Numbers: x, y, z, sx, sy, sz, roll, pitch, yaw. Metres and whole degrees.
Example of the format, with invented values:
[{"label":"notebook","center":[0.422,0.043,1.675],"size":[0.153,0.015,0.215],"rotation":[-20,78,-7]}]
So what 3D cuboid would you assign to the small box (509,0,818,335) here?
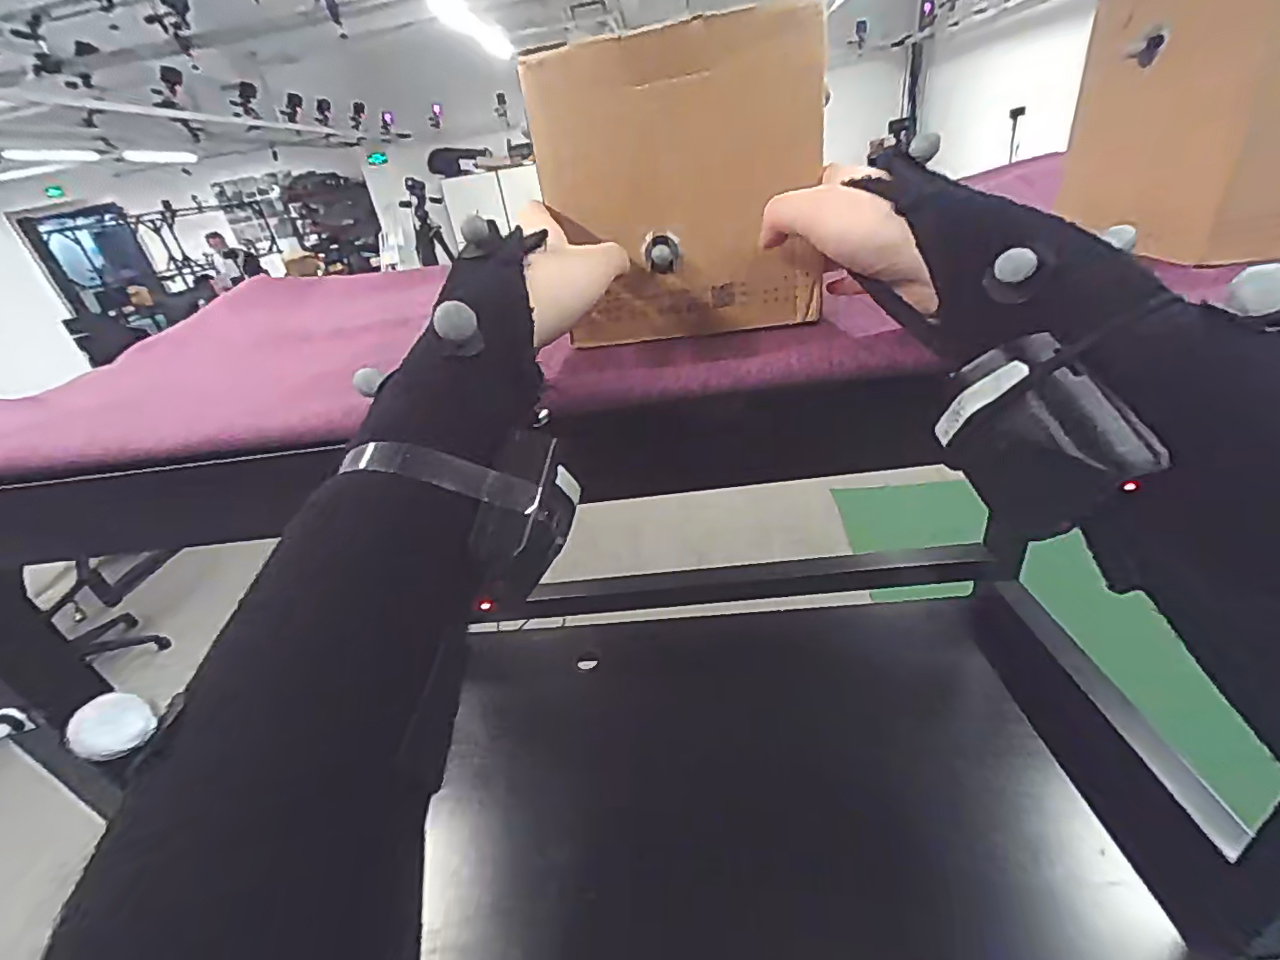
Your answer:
[{"label":"small box","center":[0.028,-0.211,0.388],"size":[0.168,0.176,0.179],"rotation":[-5,29,10]}]

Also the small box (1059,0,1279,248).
[{"label":"small box","center":[0.409,-0.253,0.339],"size":[0.168,0.176,0.179],"rotation":[-4,31,11]}]
